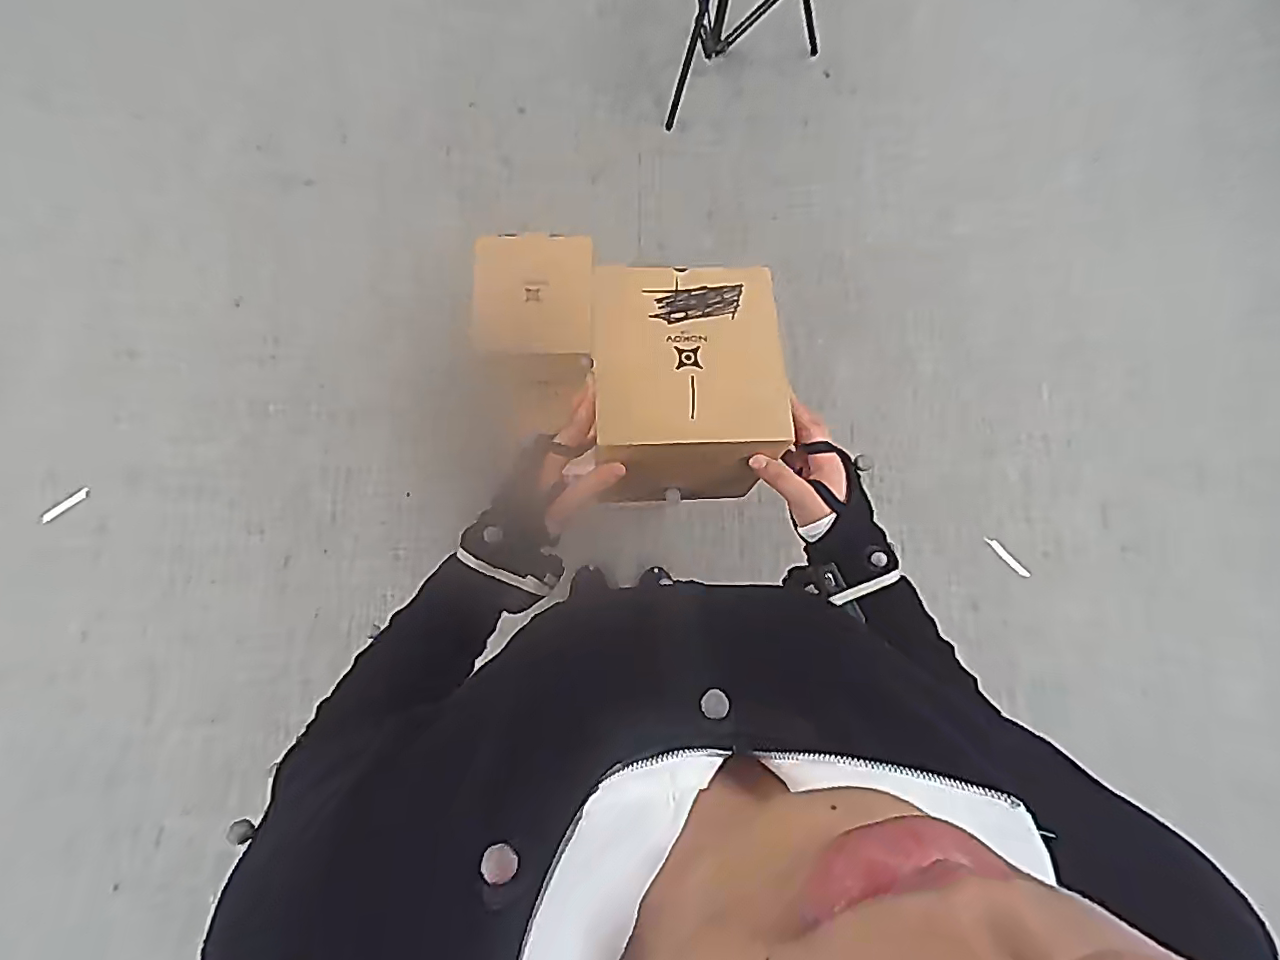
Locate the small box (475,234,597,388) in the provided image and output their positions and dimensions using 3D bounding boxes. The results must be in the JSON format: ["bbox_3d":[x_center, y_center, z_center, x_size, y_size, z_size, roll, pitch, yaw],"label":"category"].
[{"bbox_3d":[-0.148,-0.251,0.831,0.168,0.176,0.179,-1,84,-1],"label":"small box"}]

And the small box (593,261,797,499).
[{"bbox_3d":[0.038,-0.089,0.537,0.168,0.176,0.179,-2,72,-5],"label":"small box"}]
